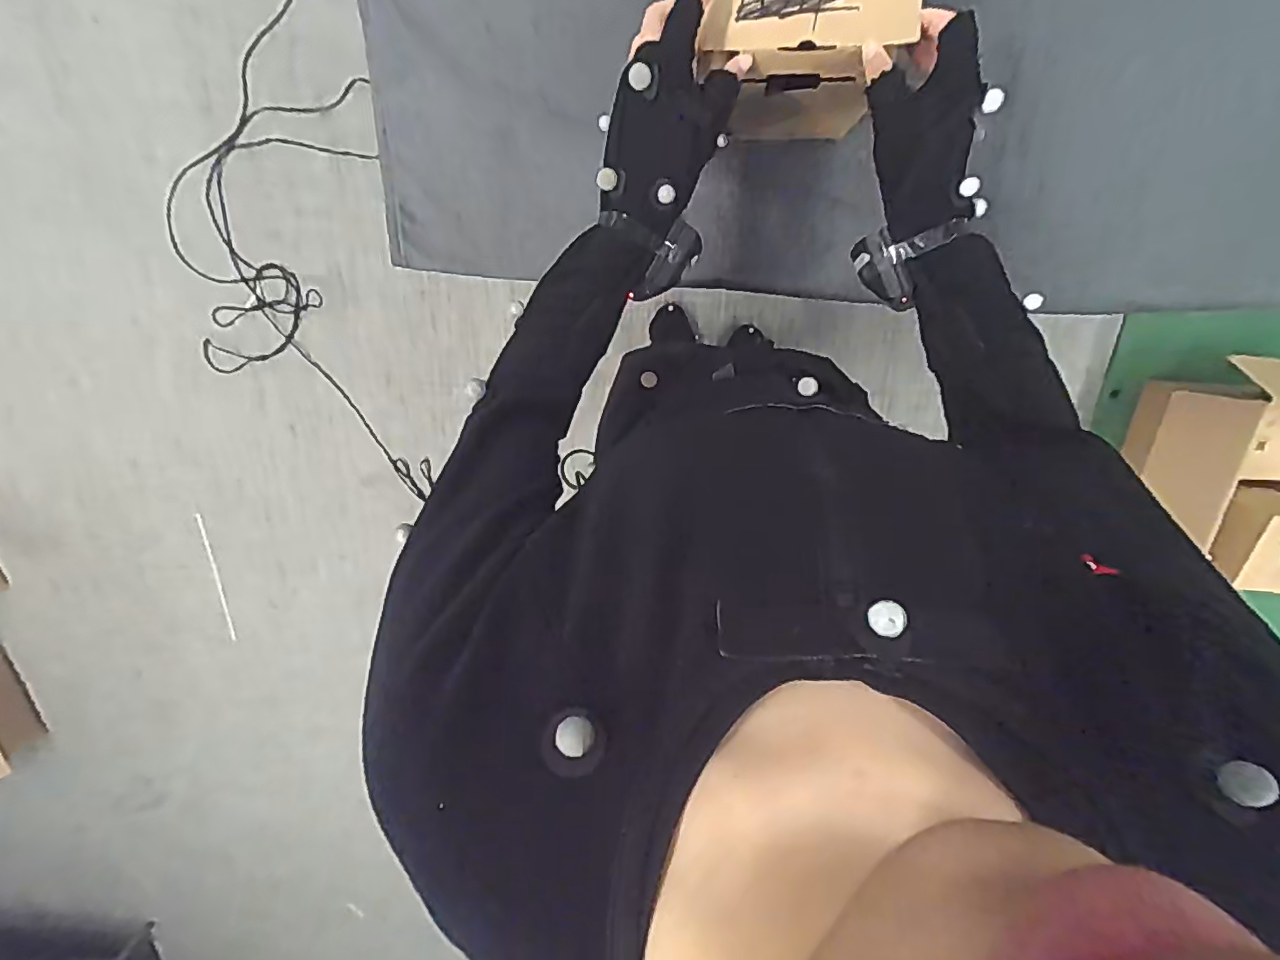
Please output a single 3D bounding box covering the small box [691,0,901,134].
[{"bbox_3d":[0.134,-0.439,0.499,0.168,0.176,0.179,2,108,4],"label":"small box"}]
